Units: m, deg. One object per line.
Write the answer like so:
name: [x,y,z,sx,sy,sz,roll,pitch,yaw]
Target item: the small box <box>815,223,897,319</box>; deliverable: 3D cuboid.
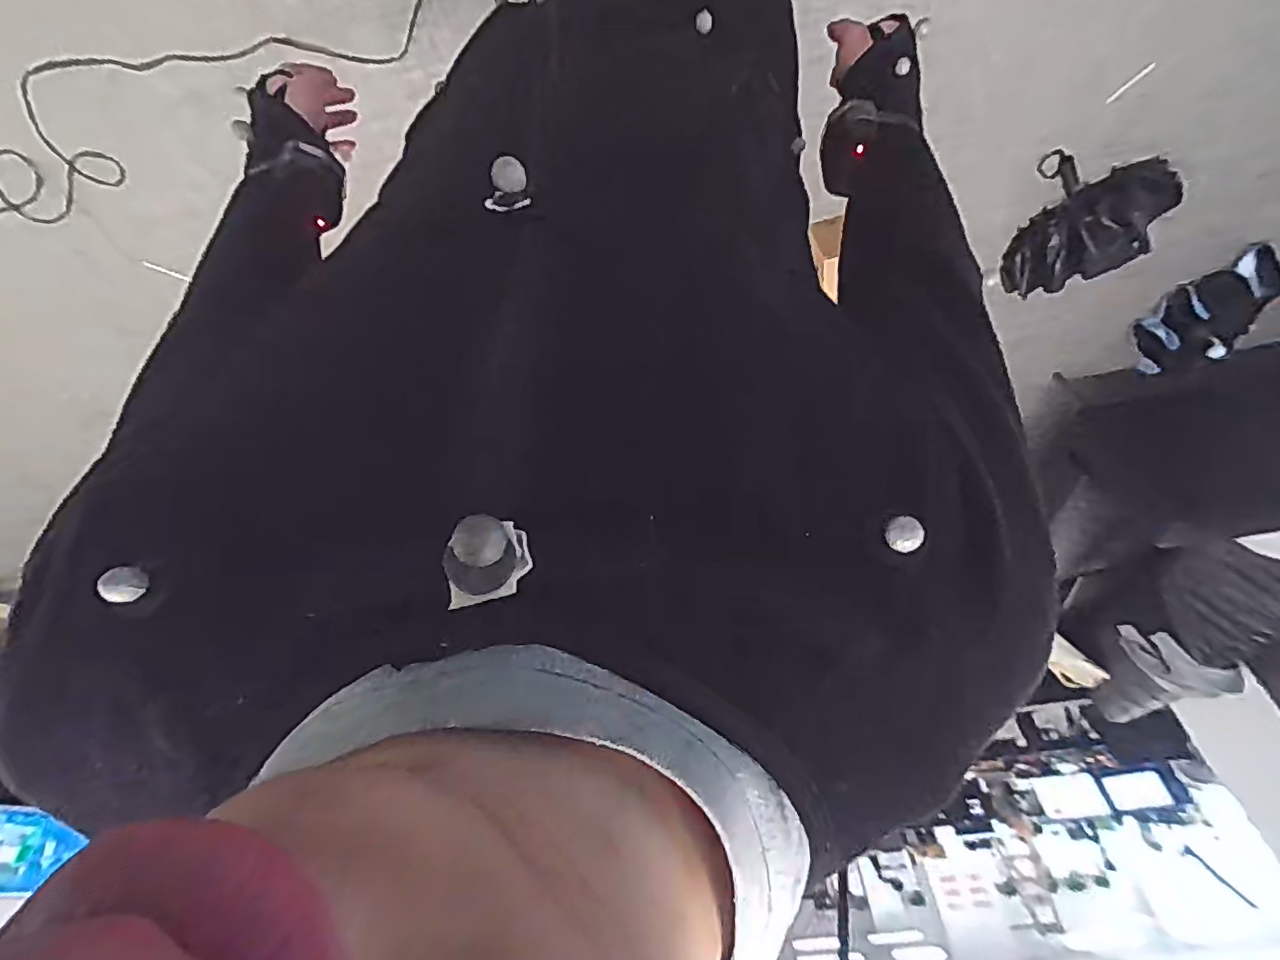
small box: [0.579,-0.574,1.471,0.168,0.176,0.179,-11,141,10]
